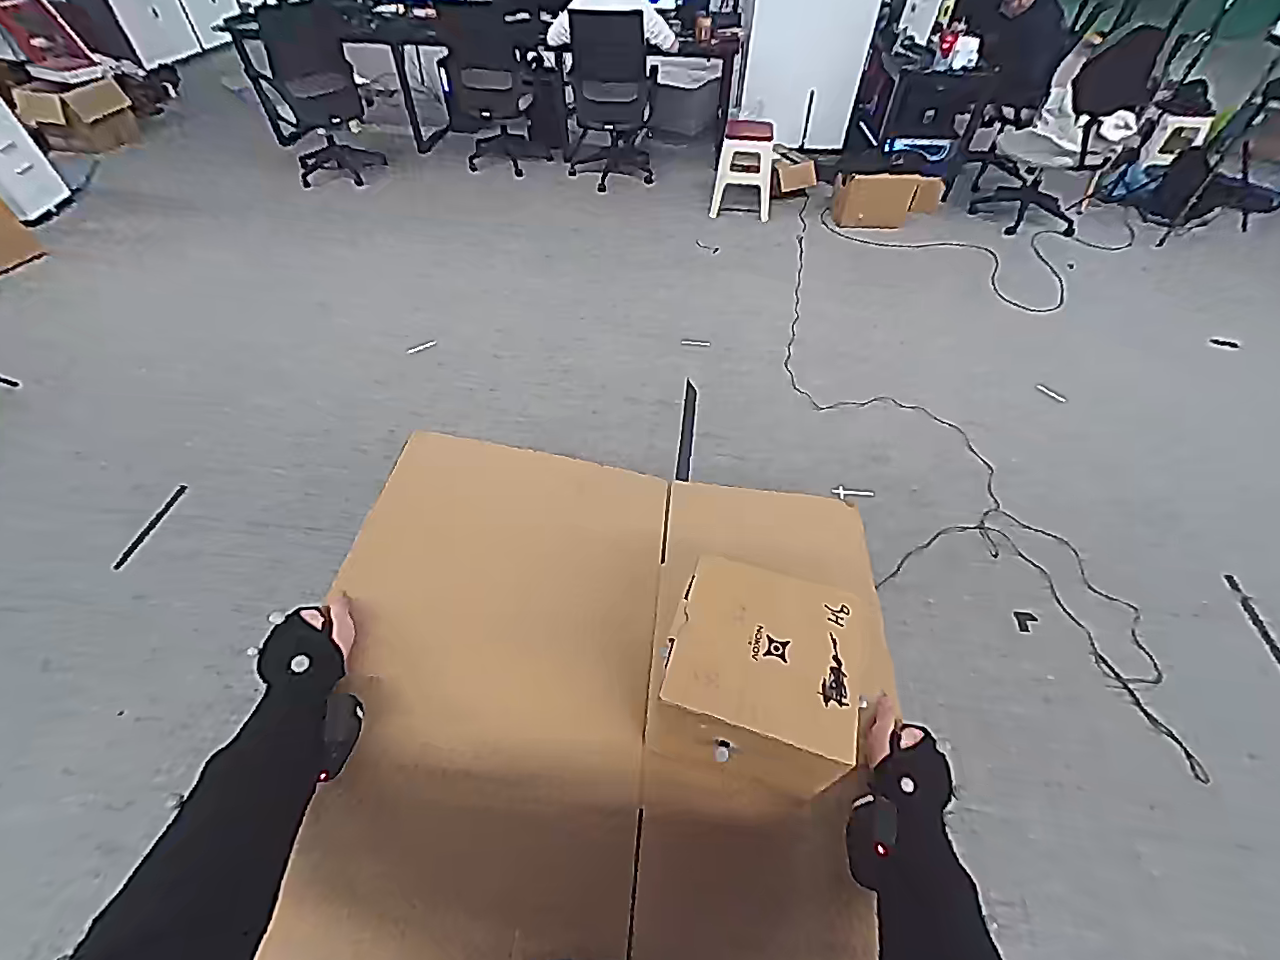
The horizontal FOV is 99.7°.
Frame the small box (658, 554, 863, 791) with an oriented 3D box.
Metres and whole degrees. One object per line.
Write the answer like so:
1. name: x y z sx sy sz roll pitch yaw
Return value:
1. small box: 0.123 0.210 0.584 0.179 0.176 0.168 14 51 11
